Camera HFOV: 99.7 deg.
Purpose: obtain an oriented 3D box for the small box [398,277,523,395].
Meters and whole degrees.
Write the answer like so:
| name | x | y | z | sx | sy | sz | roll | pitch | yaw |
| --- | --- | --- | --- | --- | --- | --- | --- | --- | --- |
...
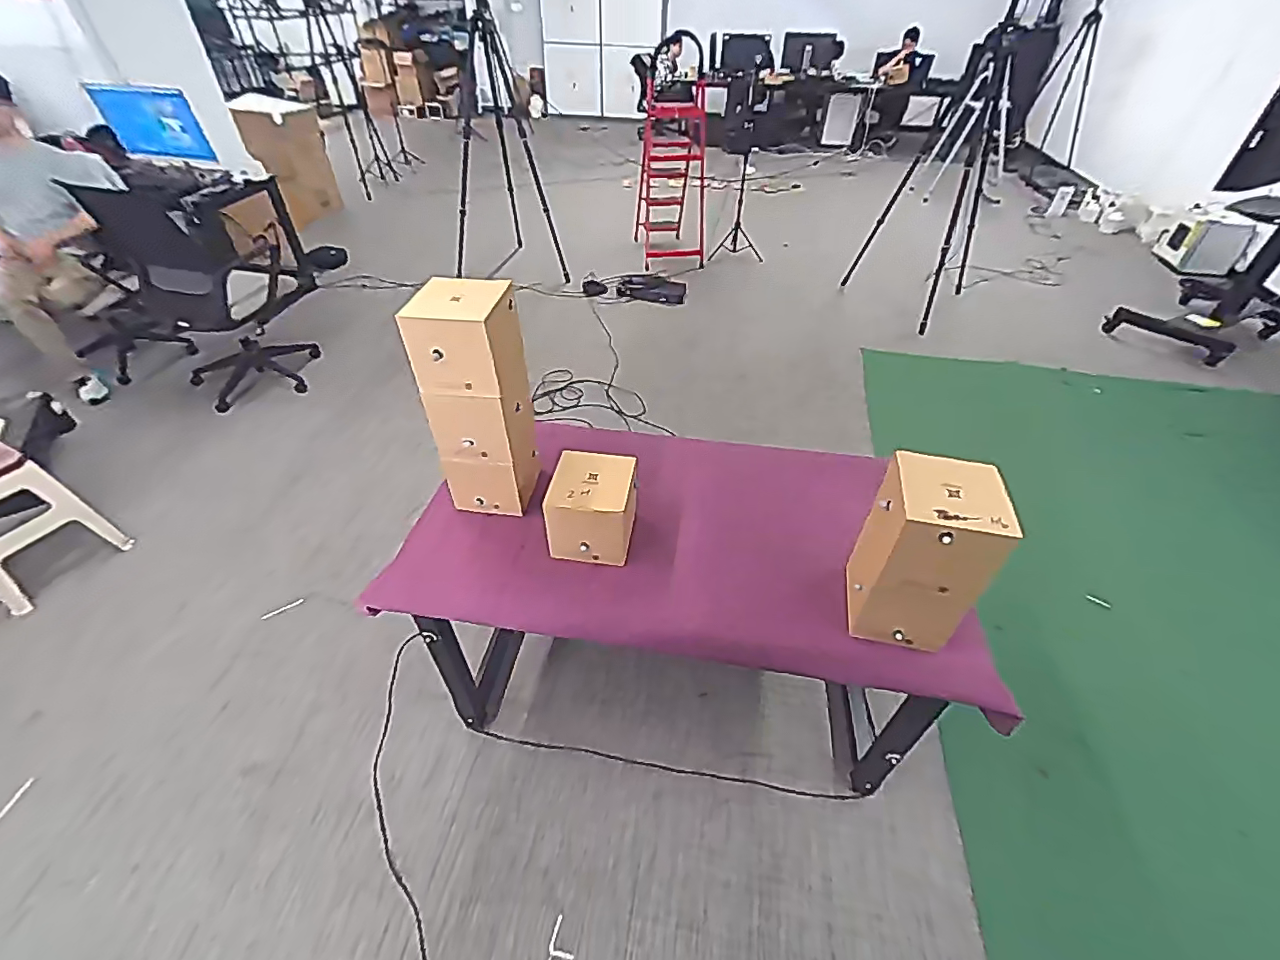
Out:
| name | x | y | z | sx | sy | sz | roll | pitch | yaw |
| --- | --- | --- | --- | --- | --- | --- | --- | --- | --- |
| small box | -0.339 | -0.282 | 1.063 | 0.168 | 0.176 | 0.179 | 4 | 43 | 5 |

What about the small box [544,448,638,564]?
| name | x | y | z | sx | sy | sz | roll | pitch | yaw |
| --- | --- | --- | --- | --- | --- | --- | --- | --- | --- |
| small box | -0.101 | 0.056 | 1.182 | 0.168 | 0.176 | 0.179 | 6 | 43 | 6 |

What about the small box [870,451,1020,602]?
| name | x | y | z | sx | sy | sz | roll | pitch | yaw |
| --- | --- | --- | --- | --- | --- | --- | --- | --- | --- |
| small box | 0.504 | 0.078 | 0.925 | 0.168 | 0.176 | 0.179 | 9 | 42 | 11 |

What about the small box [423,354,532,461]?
| name | x | y | z | sx | sy | sz | roll | pitch | yaw |
| --- | --- | --- | --- | --- | --- | --- | --- | --- | --- |
| small box | -0.340 | -0.164 | 1.174 | 0.168 | 0.176 | 0.179 | 5 | 44 | 5 |

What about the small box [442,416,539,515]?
| name | x | y | z | sx | sy | sz | roll | pitch | yaw |
| --- | --- | --- | --- | --- | --- | --- | --- | --- | --- |
| small box | -0.343 | -0.043 | 1.284 | 0.168 | 0.176 | 0.179 | 5 | 44 | 5 |
